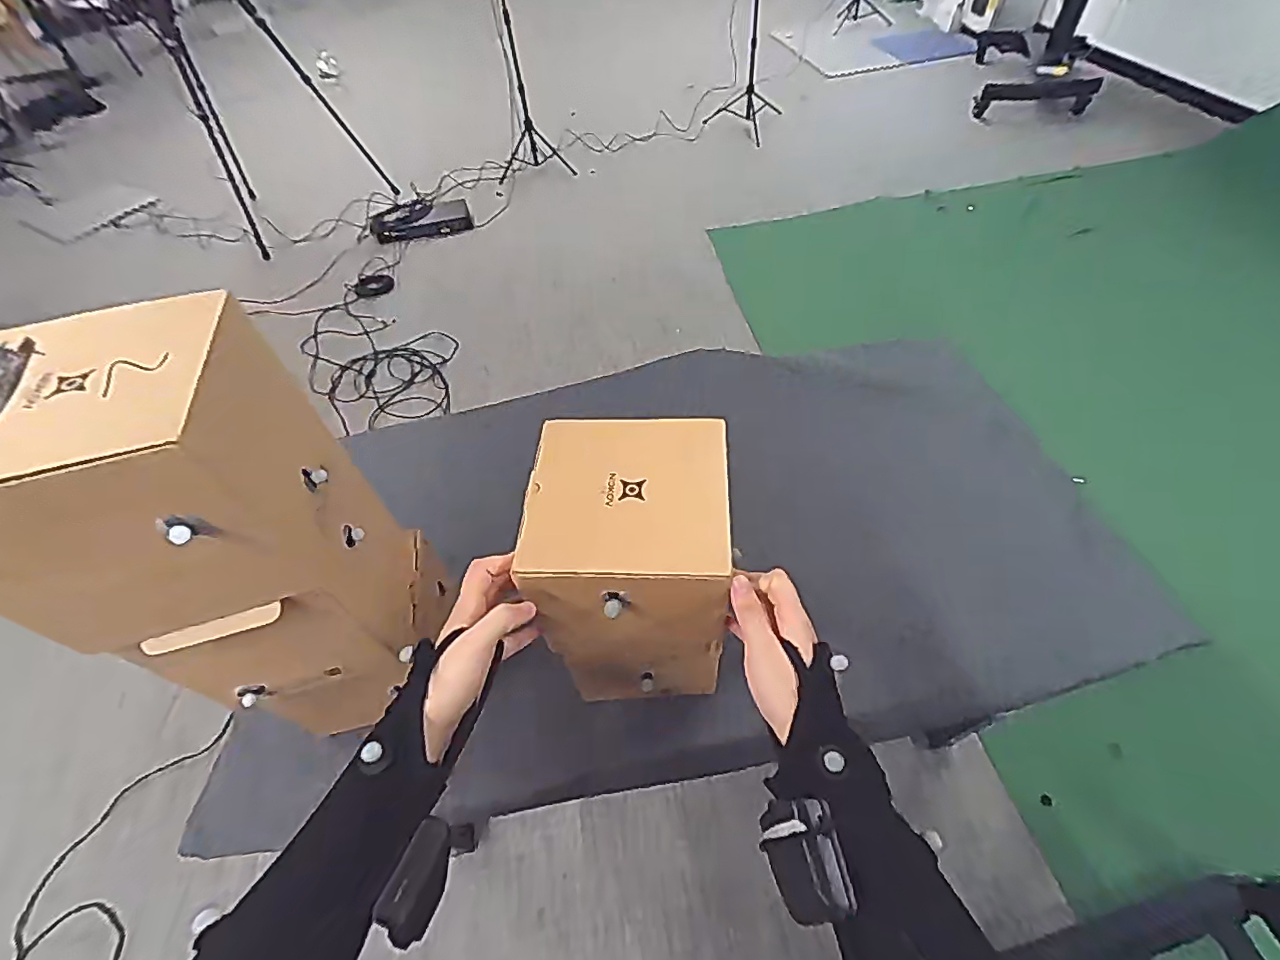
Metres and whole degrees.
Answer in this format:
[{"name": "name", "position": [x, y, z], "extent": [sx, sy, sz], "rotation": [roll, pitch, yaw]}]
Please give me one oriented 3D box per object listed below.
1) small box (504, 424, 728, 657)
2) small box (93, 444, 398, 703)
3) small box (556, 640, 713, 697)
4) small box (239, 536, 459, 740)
[{"name": "small box", "position": [-0.010, 0.063, 0.524], "extent": [0.179, 0.176, 0.168], "rotation": [-1, 53, 6]}, {"name": "small box", "position": [-0.353, 0.099, 0.530], "extent": [0.168, 0.176, 0.179], "rotation": [-16, 50, -8]}, {"name": "small box", "position": [-0.001, 0.156, 0.658], "extent": [0.168, 0.176, 0.179], "rotation": [-5, 53, 2]}, {"name": "small box", "position": [-0.331, 0.196, 0.661], "extent": [0.179, 0.176, 0.168], "rotation": [-13, 51, -4]}]
